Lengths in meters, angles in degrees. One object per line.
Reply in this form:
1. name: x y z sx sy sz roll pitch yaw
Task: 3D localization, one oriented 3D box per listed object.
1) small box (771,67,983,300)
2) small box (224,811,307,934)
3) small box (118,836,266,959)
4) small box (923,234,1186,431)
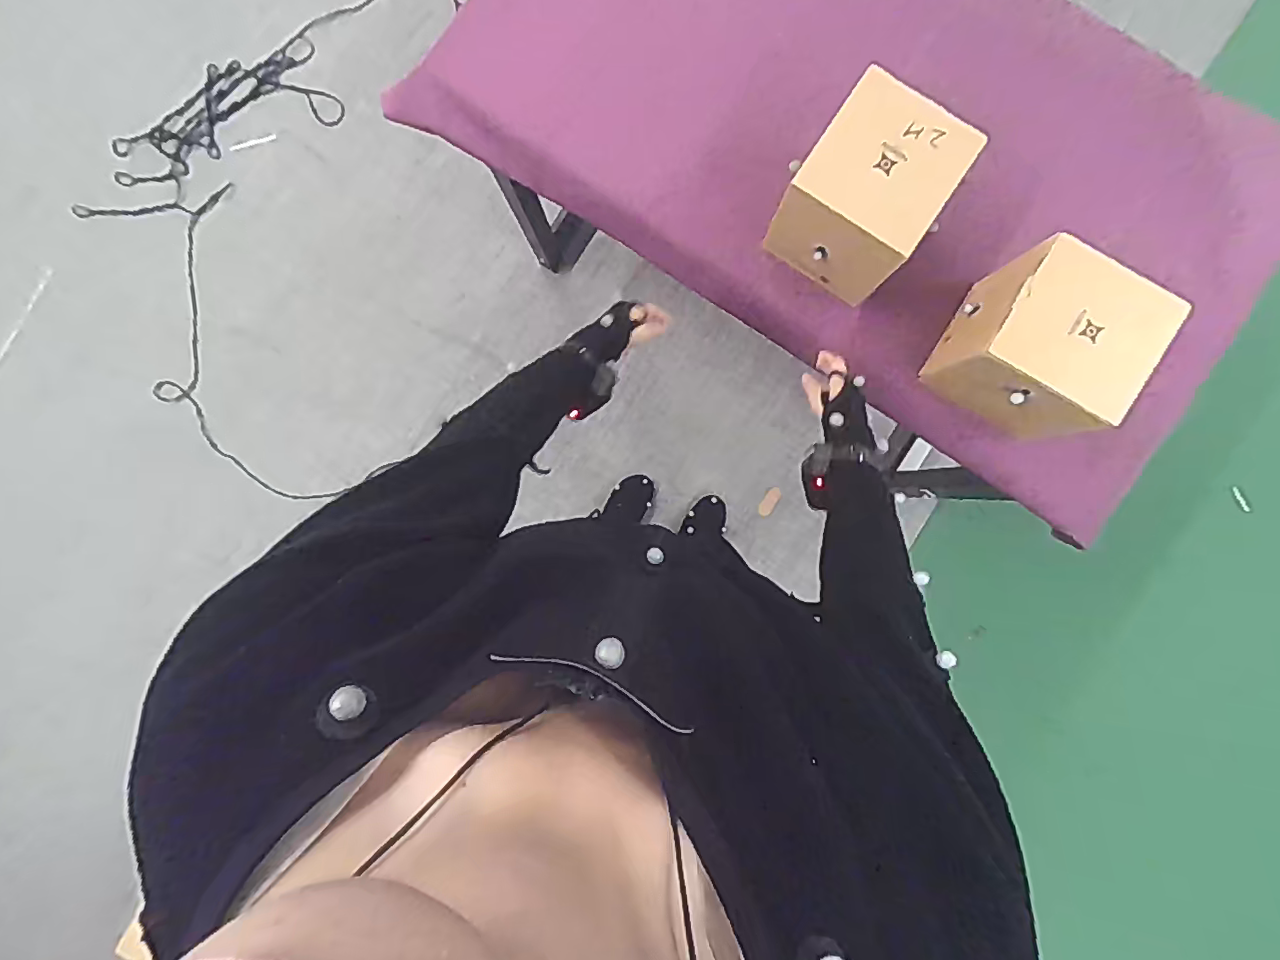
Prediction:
1. small box: 0.293 -0.372 0.716 0.168 0.176 0.179 35 89 2
2. small box: -1.019 1.008 1.407 0.179 0.176 0.168 25 89 1
3. small box: -1.017 0.980 1.245 0.168 0.176 0.179 29 90 1
4. small box: 0.519 -0.175 0.707 0.179 0.176 0.168 31 91 3
